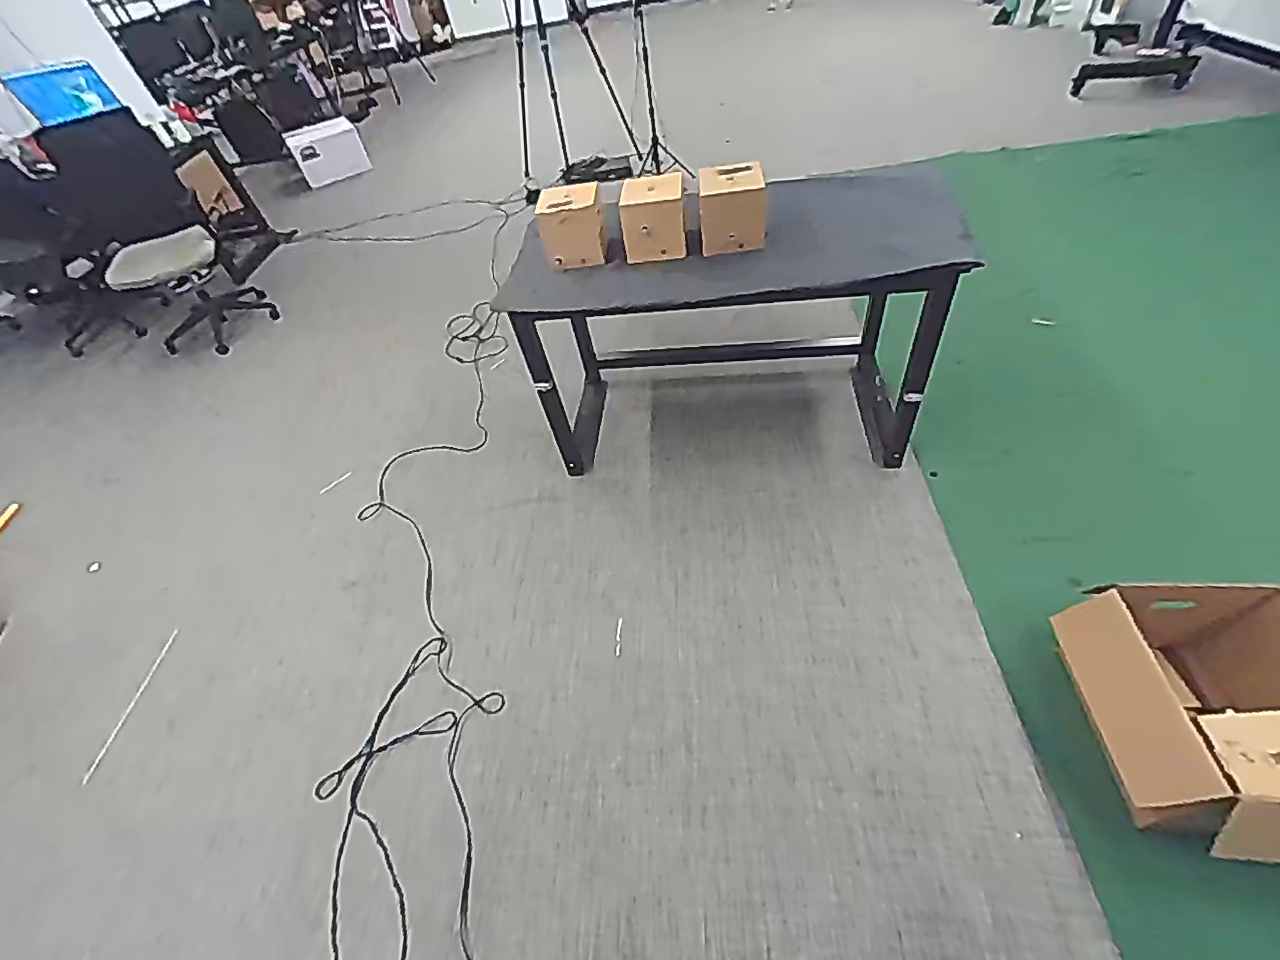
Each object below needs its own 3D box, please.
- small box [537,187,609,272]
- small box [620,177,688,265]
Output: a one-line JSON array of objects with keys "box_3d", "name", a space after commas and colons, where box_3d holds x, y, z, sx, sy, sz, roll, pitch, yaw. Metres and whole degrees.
[{"box_3d": [-0.187, -0.719, 1.568, 0.168, 0.176, 0.179, -5, 47, 6], "name": "small box"}, {"box_3d": [0.046, -0.725, 1.529, 0.168, 0.176, 0.179, -3, 48, 9], "name": "small box"}]
